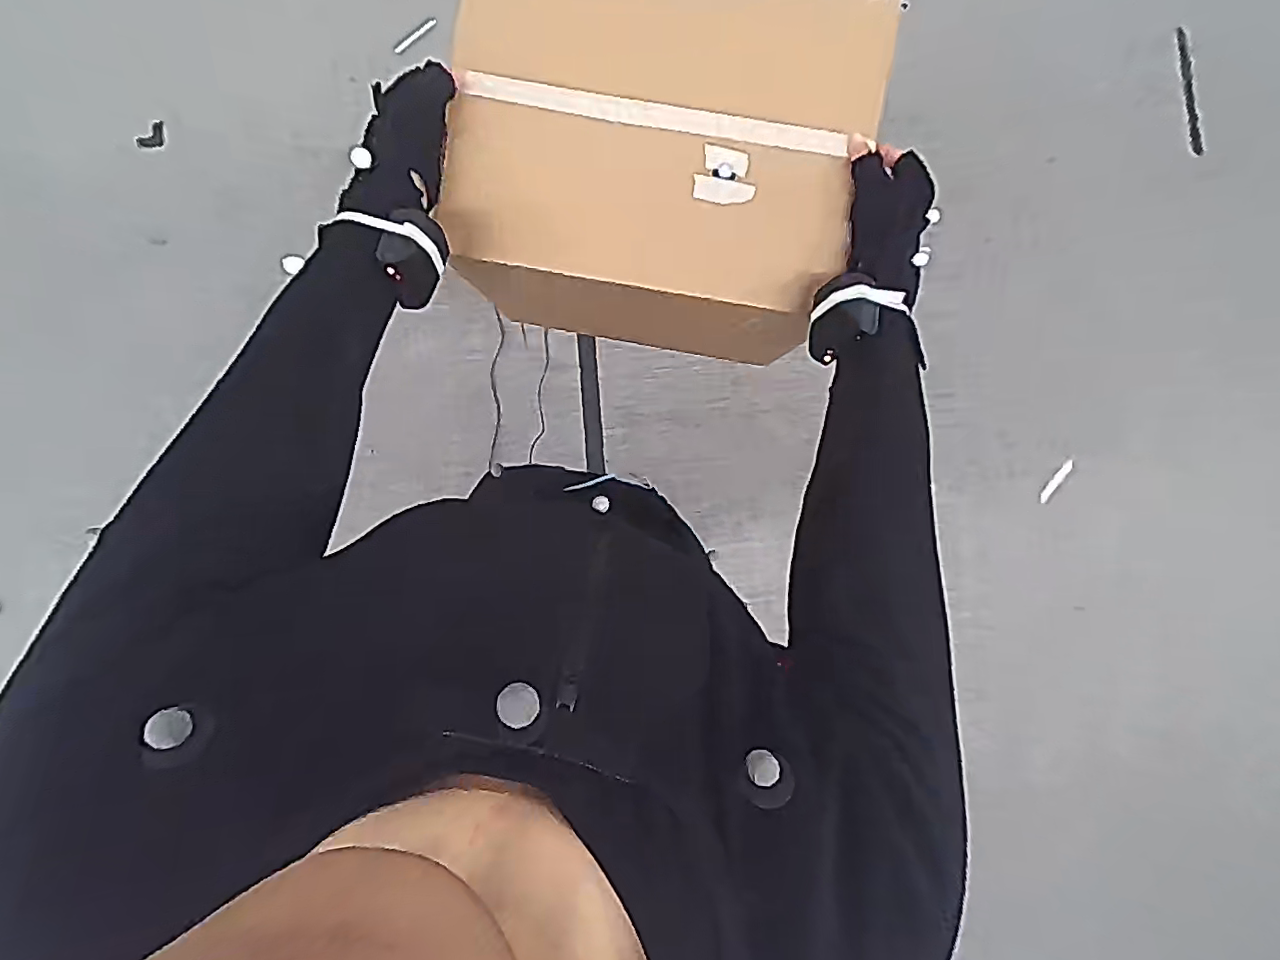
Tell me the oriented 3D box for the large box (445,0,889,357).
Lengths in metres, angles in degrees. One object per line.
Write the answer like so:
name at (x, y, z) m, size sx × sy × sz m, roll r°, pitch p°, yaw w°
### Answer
large box at (0.021, -0.354, 0.671) m, size 0.408 × 0.320 × 0.320 m, roll 9°, pitch 95°, yaw -1°
